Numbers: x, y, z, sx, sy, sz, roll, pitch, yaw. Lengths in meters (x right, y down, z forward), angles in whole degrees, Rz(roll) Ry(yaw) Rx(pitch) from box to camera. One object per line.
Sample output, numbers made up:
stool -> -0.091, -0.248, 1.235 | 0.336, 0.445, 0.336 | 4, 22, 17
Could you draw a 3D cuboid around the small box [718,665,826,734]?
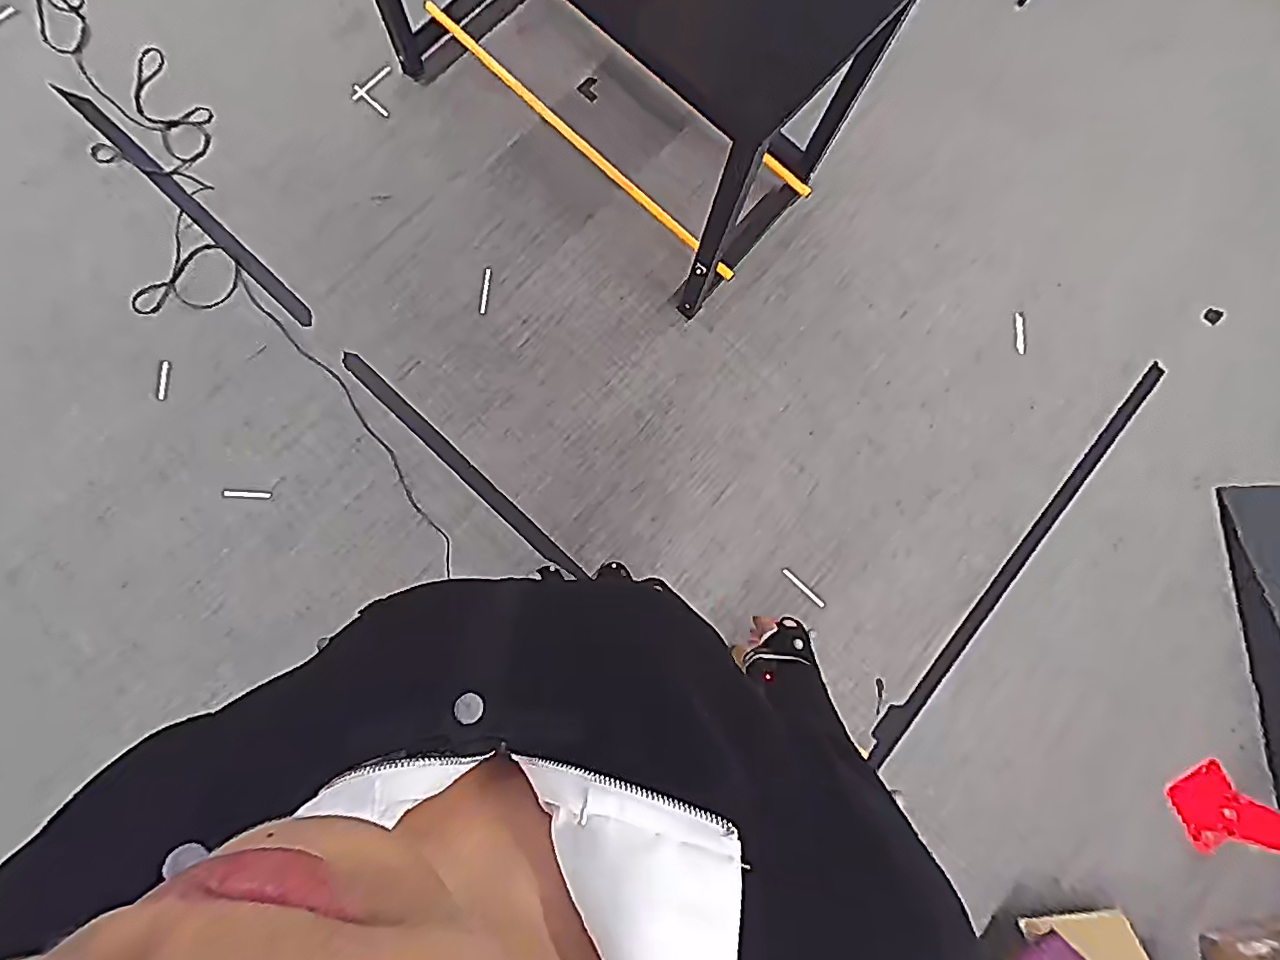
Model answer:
small box -> 0.319, 0.583, 1.342 | 0.179, 0.176, 0.168 | 35, 80, 2
